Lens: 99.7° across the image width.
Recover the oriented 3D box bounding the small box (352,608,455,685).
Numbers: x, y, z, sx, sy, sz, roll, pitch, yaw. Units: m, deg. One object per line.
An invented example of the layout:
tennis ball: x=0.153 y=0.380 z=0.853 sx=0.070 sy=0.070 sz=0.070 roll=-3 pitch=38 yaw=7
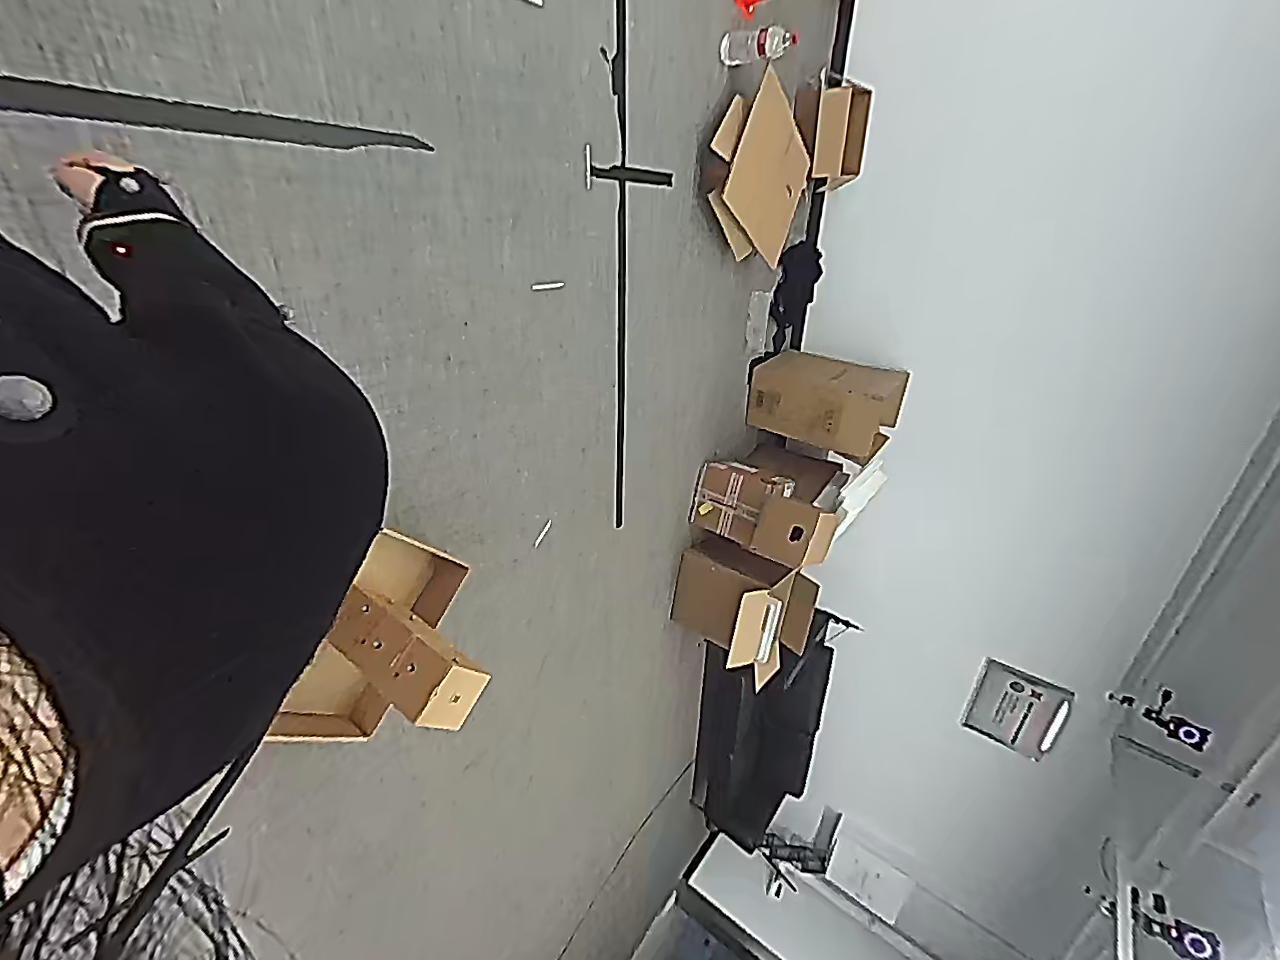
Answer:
small box: x=-0.681 y=0.488 z=1.553 sx=0.168 sy=0.176 sz=0.179 roll=-59 pitch=146 yaw=-15

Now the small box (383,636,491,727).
small box: x=-0.552 y=0.546 z=1.472 sx=0.168 sy=0.176 sz=0.179 roll=-60 pitch=147 yaw=-14
